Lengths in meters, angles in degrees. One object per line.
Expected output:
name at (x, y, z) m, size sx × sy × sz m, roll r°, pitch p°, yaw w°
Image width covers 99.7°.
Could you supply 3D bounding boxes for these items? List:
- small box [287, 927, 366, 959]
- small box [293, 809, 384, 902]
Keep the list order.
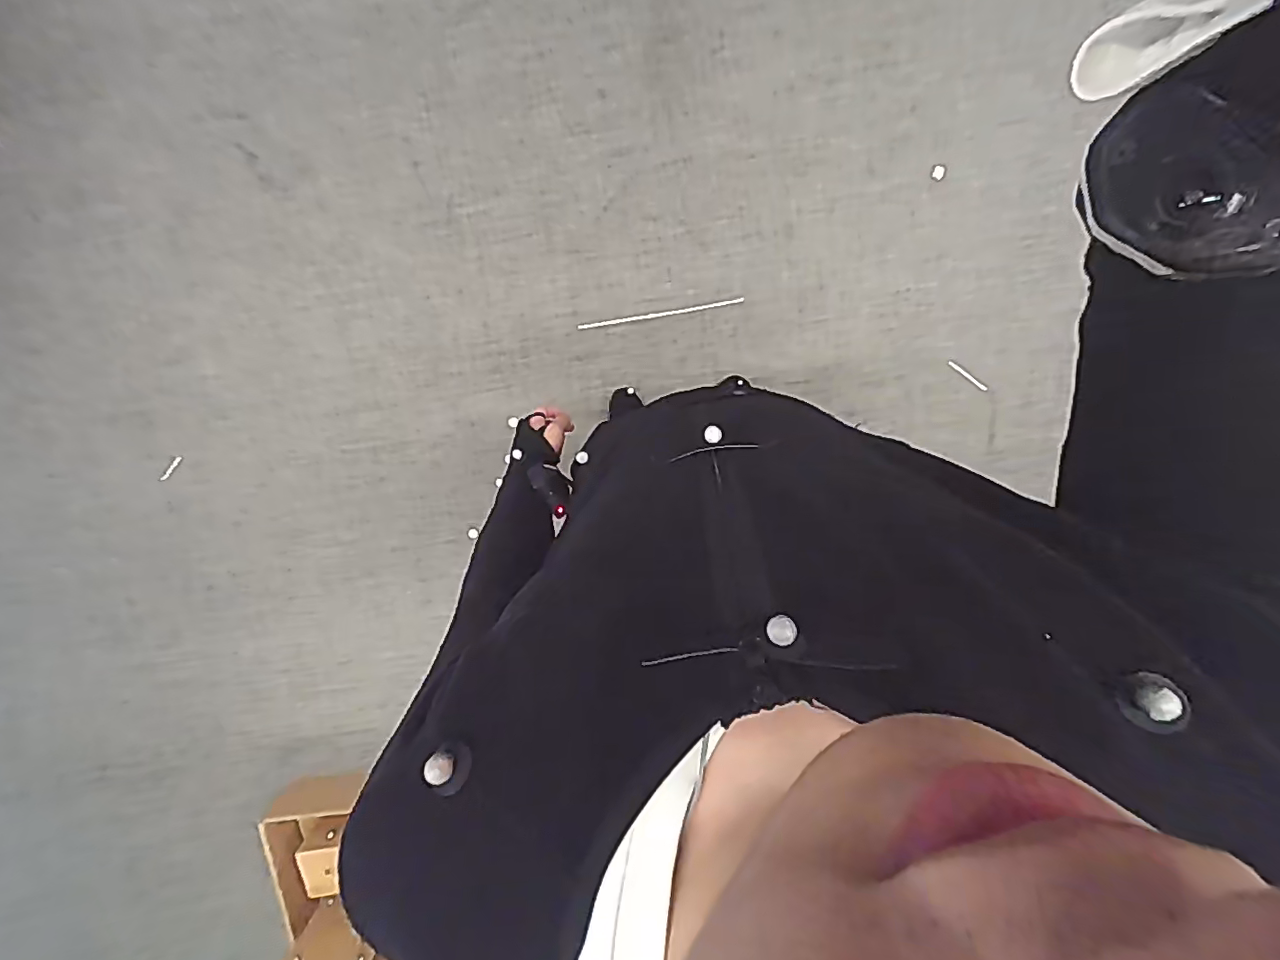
small box at (-0.940, 1.467, 1.593) m, size 0.179 × 0.176 × 0.168 m, roll -5°, pitch 99°, yaw 1°
small box at (-0.949, 1.184, 1.716) m, size 0.179 × 0.176 × 0.168 m, roll -10°, pitch 99°, yaw 0°
